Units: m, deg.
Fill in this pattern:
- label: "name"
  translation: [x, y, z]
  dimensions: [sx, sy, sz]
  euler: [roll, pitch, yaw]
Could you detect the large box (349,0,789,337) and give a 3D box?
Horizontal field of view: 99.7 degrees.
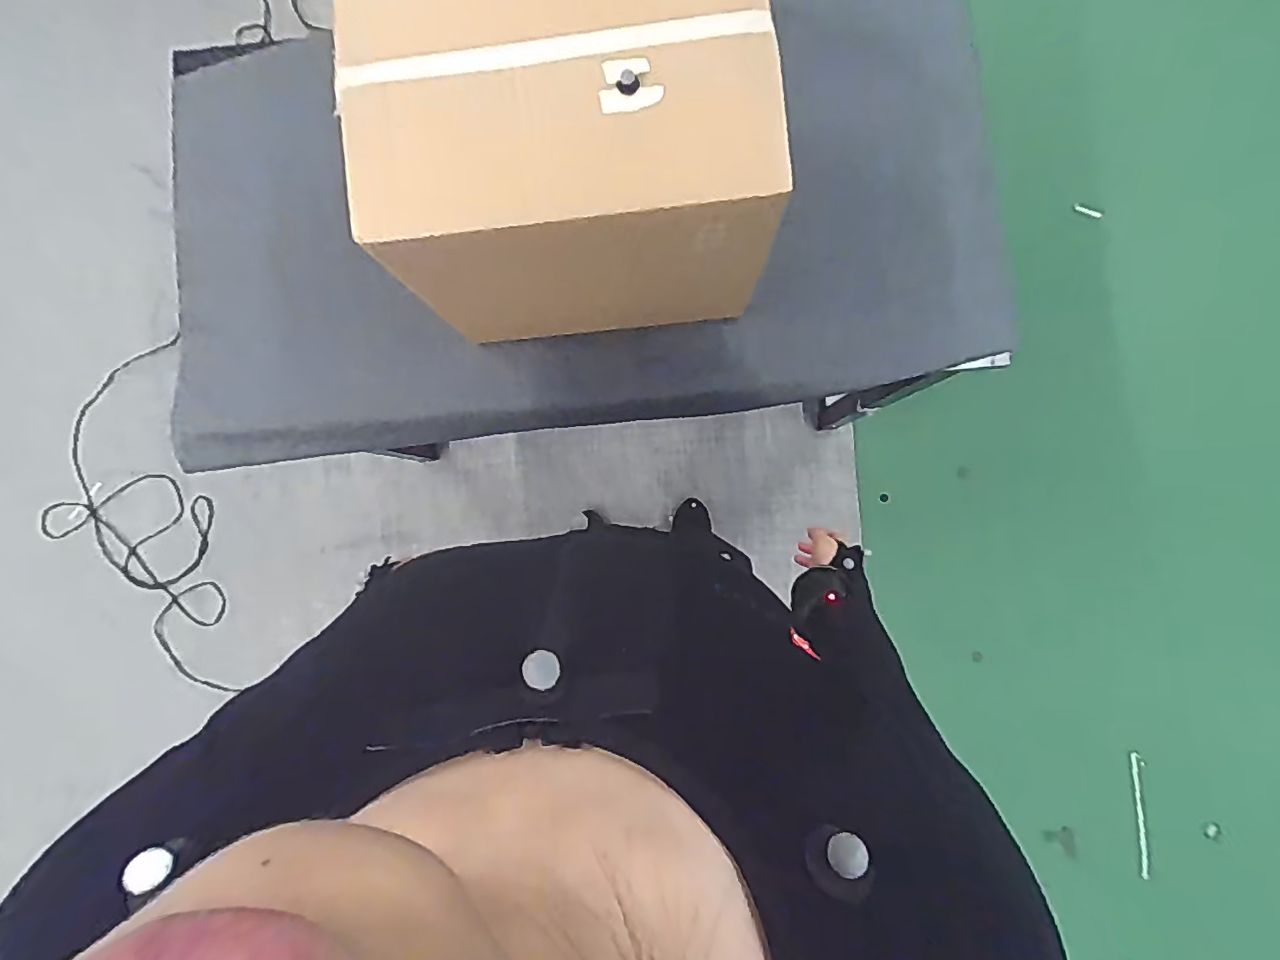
- label: "large box"
  translation: [-0.072, -0.391, 0.658]
  dimensions: [0.408, 0.320, 0.320]
  euler: [-6, 88, 1]
